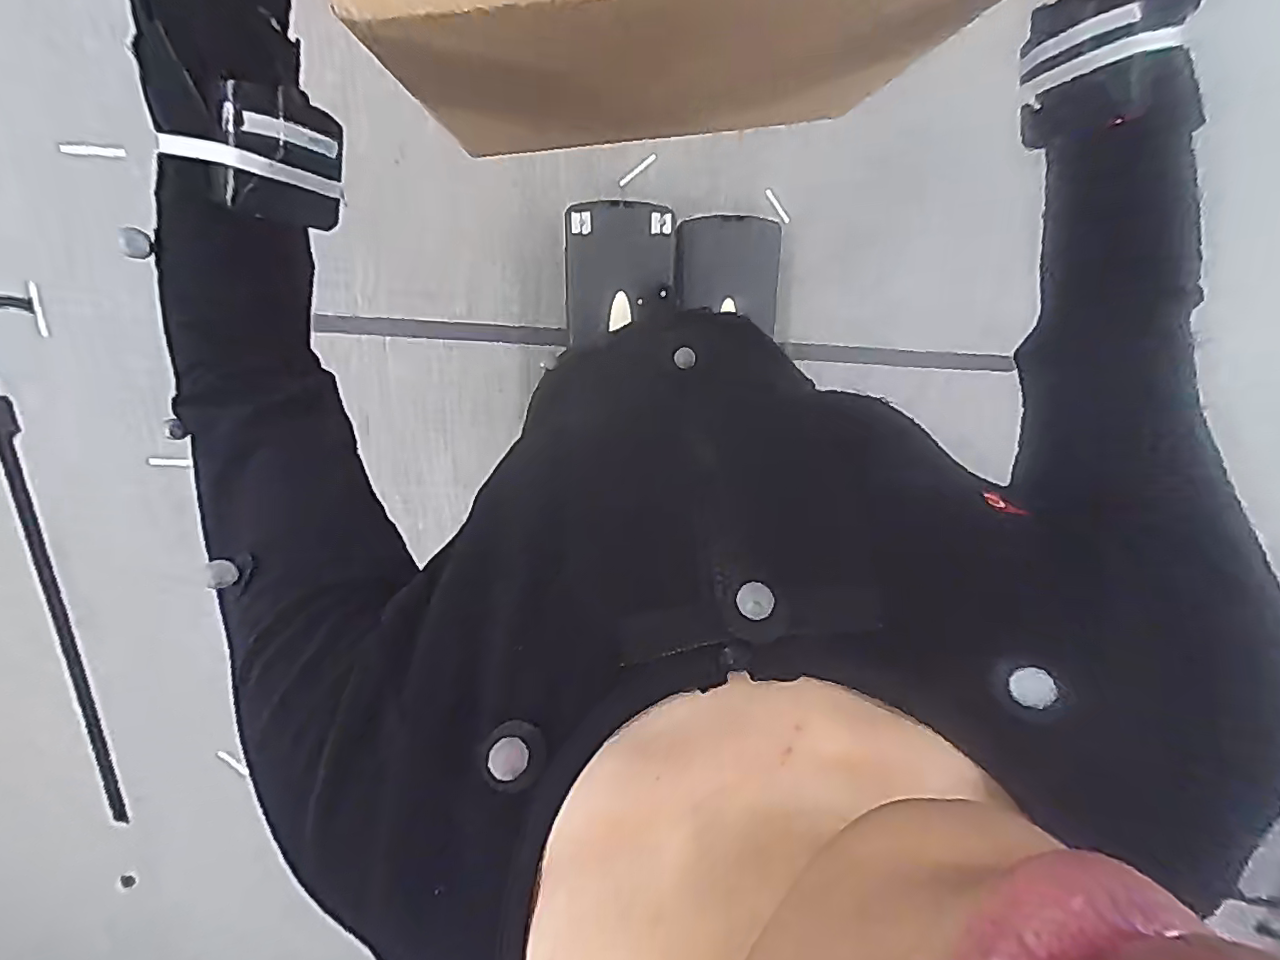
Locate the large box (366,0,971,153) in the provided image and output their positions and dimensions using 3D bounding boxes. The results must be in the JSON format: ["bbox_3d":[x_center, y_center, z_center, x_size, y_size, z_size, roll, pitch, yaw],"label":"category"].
[{"bbox_3d":[0.015,-0.468,0.391,0.408,0.320,0.320,-8,110,-2],"label":"large box"}]
